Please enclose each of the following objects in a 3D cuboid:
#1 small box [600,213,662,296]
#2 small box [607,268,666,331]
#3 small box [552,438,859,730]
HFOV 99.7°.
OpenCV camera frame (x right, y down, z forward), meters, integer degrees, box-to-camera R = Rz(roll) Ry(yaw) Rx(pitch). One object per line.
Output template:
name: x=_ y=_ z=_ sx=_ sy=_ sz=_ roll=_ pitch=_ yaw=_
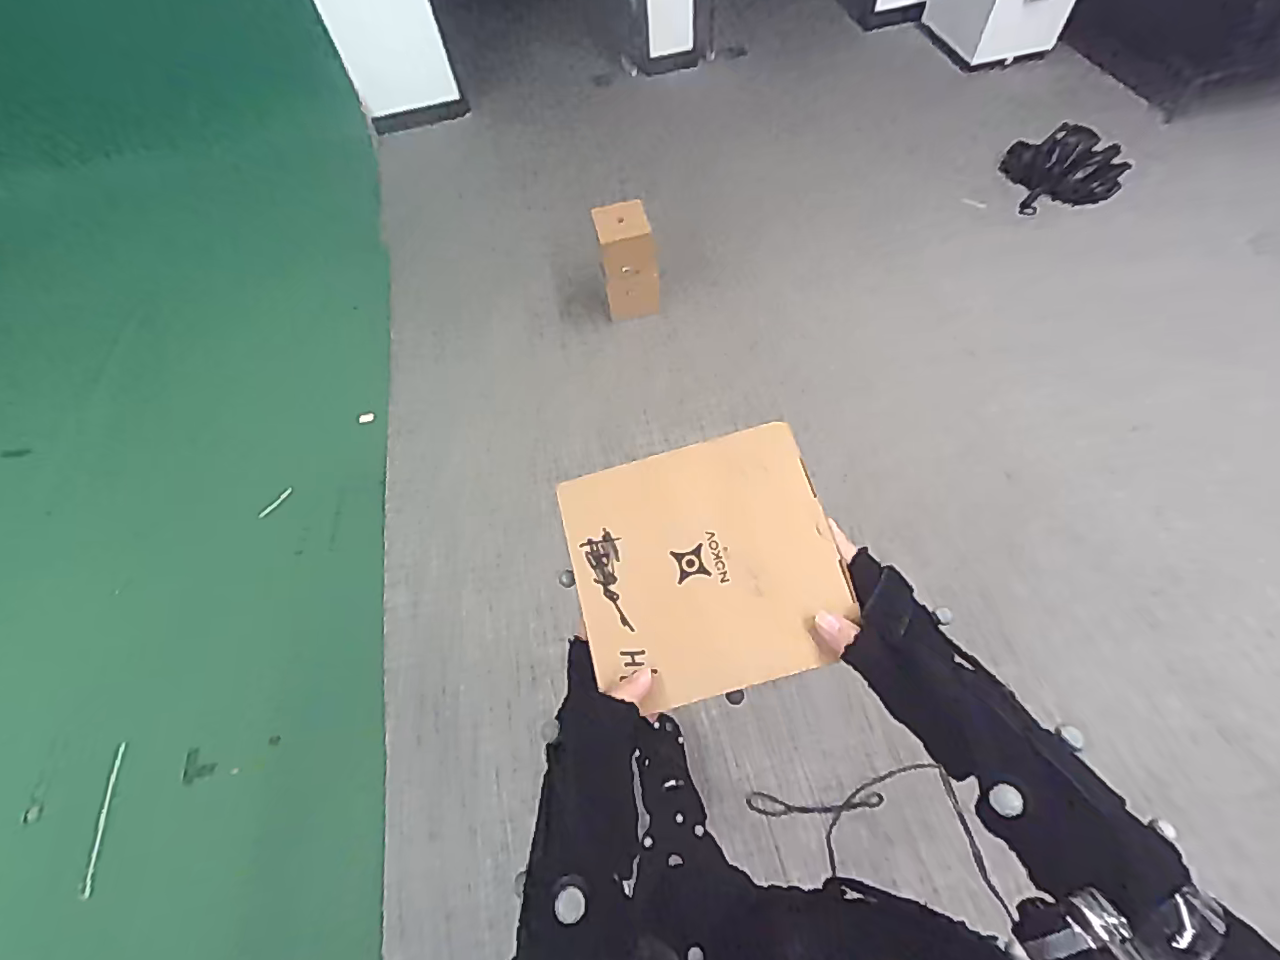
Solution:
small box: x=-0.028 y=-0.742 z=1.787 sx=0.168 sy=0.176 sz=0.179 roll=-15 pitch=60 yaw=0
small box: x=-0.010 y=-0.653 z=1.922 sx=0.179 sy=0.176 sz=0.168 roll=-12 pitch=59 yaw=-1
small box: x=0.044 y=0.089 z=0.438 sx=0.179 sy=0.176 sz=0.168 roll=-15 pitch=69 yaw=1
